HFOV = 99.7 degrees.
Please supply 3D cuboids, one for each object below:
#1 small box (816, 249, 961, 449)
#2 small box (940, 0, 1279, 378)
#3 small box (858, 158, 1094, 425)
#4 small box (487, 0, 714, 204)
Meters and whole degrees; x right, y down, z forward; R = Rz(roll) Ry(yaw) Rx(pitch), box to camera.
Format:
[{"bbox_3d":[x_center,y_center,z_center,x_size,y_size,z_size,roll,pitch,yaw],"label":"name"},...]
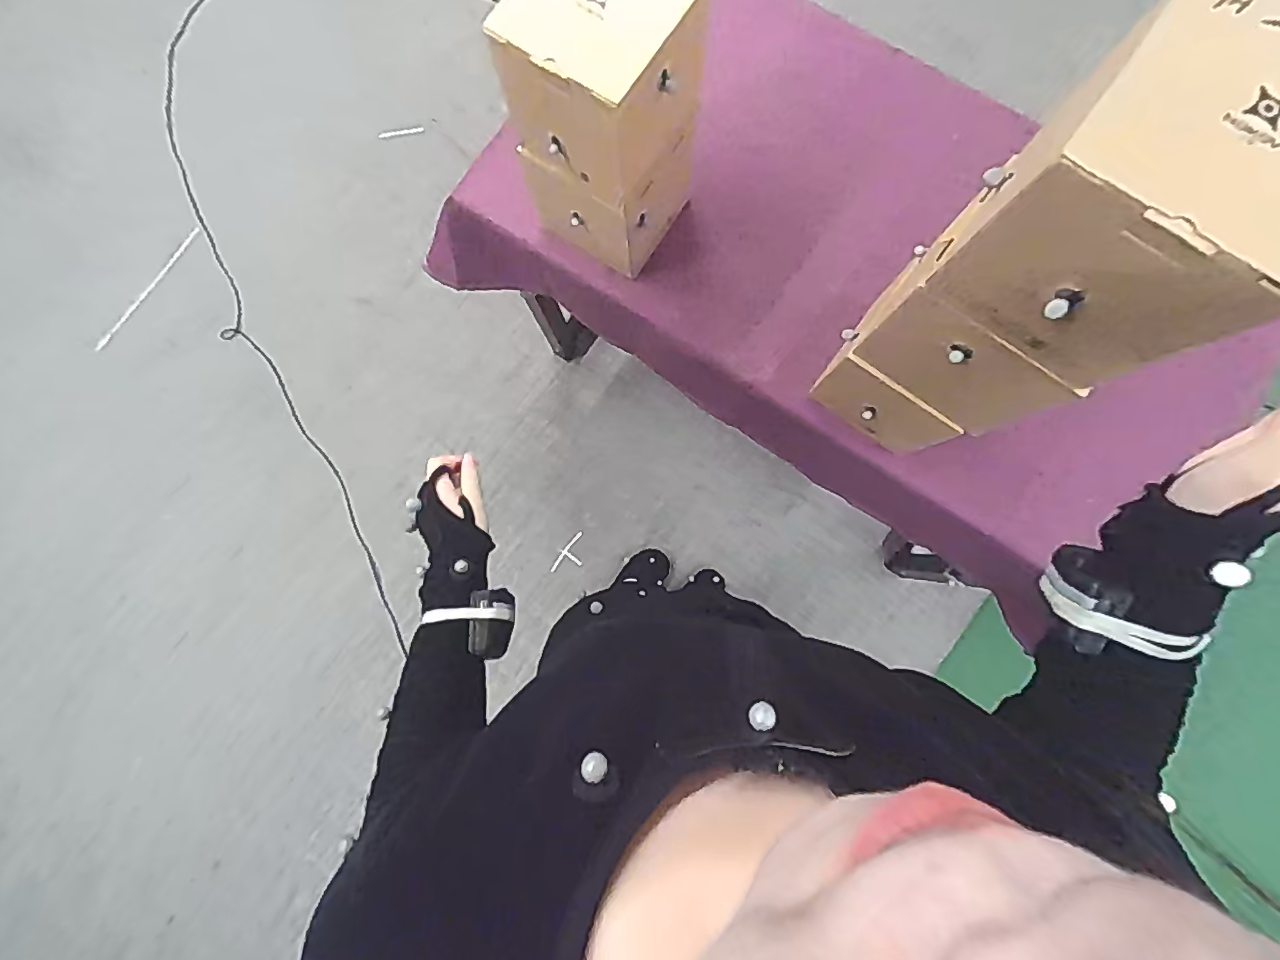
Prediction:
[{"bbox_3d":[0.363,-0.162,0.734,0.168,0.176,0.179,37,86,5],"label":"small box"},{"bbox_3d":[0.367,-0.204,0.407,0.168,0.176,0.179,37,87,5],"label":"small box"},{"bbox_3d":[0.368,-0.178,0.570,0.179,0.176,0.168,37,86,4],"label":"small box"},{"bbox_3d":[-0.037,-0.464,0.612,0.168,0.176,0.179,34,86,5],"label":"small box"}]
